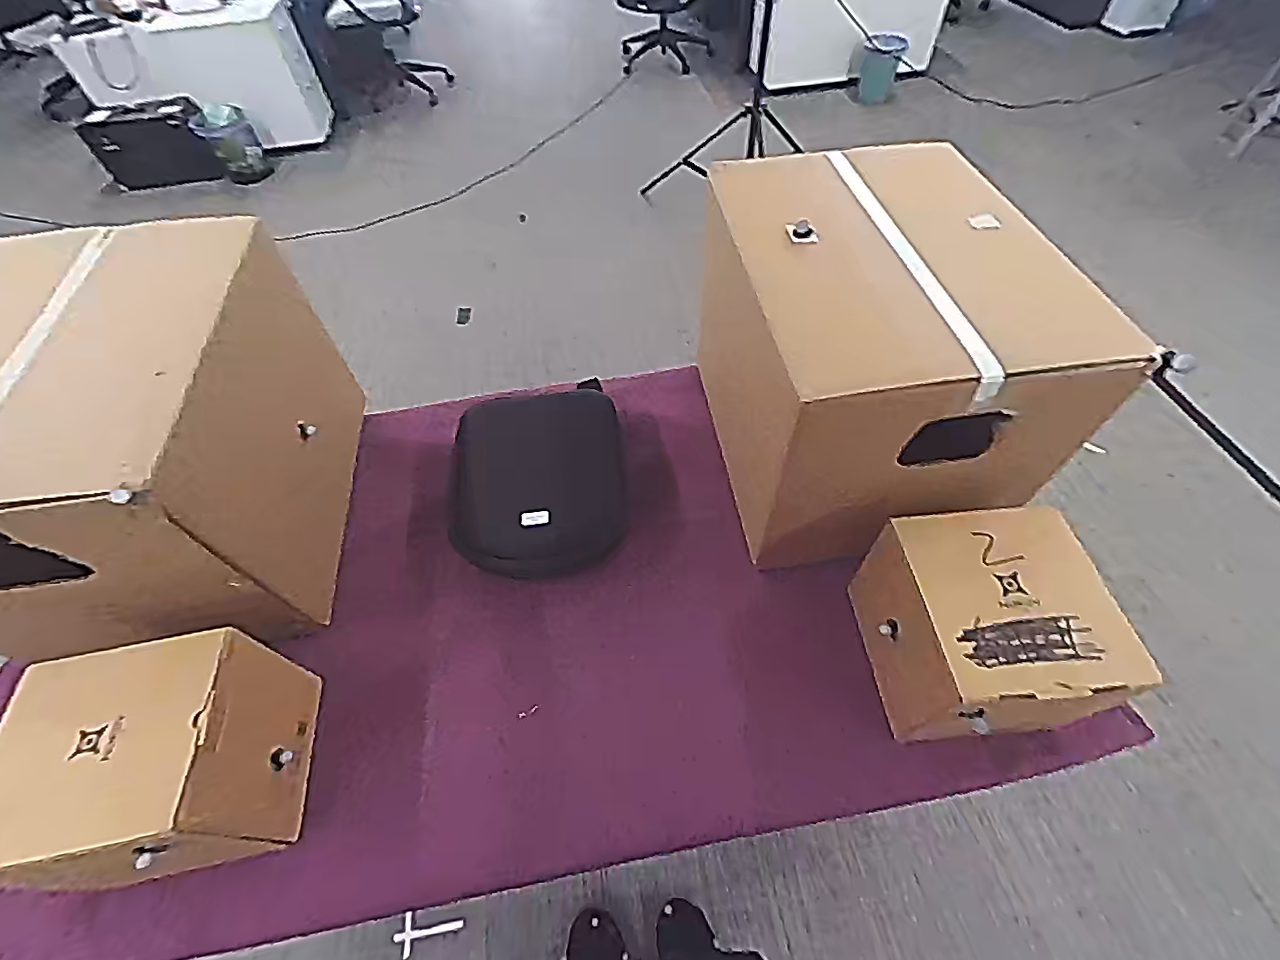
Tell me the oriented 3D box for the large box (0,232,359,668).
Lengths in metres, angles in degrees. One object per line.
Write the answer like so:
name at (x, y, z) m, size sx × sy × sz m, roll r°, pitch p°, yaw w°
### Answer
large box at (-0.567, -0.031, 0.645) m, size 0.320 × 0.320 × 0.408 m, roll -10°, pitch 56°, yaw -6°

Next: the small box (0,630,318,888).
small box at (-0.446, 0.267, 0.511) m, size 0.179 × 0.176 × 0.168 m, roll -11°, pitch 53°, yaw -6°
